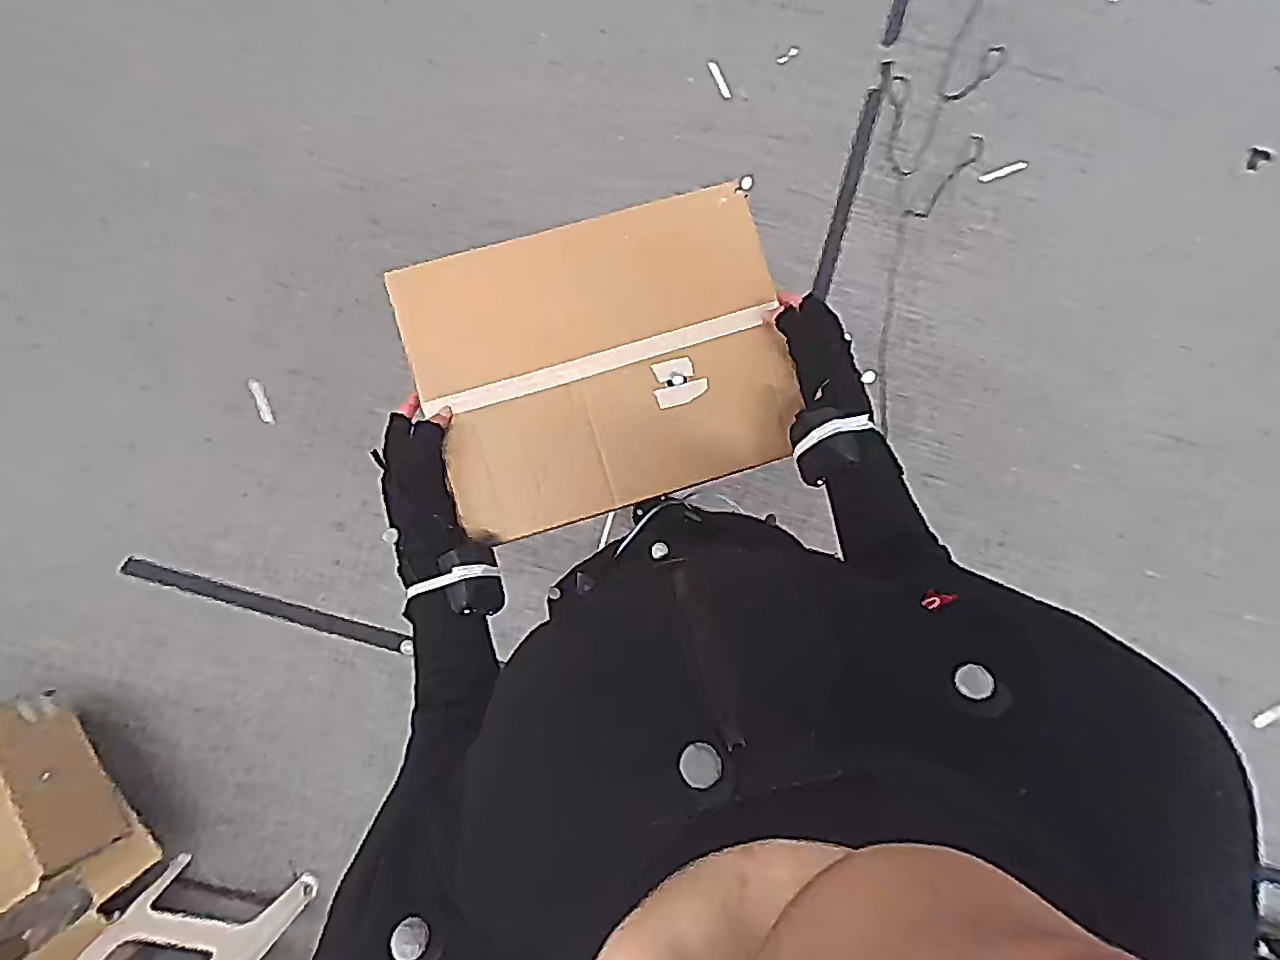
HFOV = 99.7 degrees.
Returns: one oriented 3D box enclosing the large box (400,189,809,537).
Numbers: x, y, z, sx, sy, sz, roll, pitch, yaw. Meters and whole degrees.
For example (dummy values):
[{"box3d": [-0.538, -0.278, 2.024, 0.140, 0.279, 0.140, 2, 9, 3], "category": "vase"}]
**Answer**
[{"box3d": [-0.047, -0.130, 0.753, 0.408, 0.320, 0.320, -16, 89, -5], "category": "large box"}]
